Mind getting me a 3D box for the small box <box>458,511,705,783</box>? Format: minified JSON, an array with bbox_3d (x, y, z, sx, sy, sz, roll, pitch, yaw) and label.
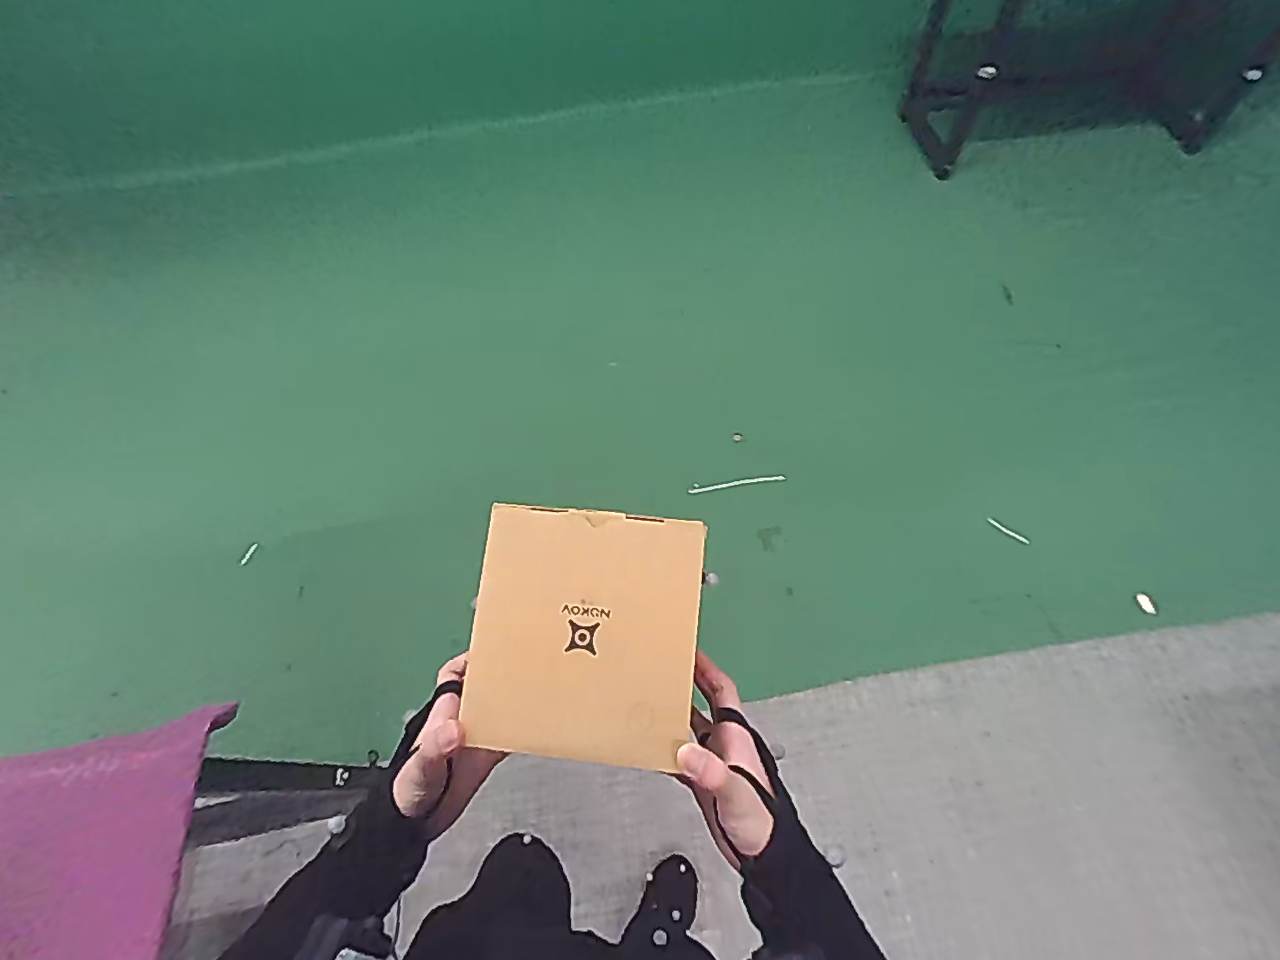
[{"bbox_3d":[-0.034,0.134,0.472,0.168,0.176,0.179,5,76,5],"label":"small box"}]
